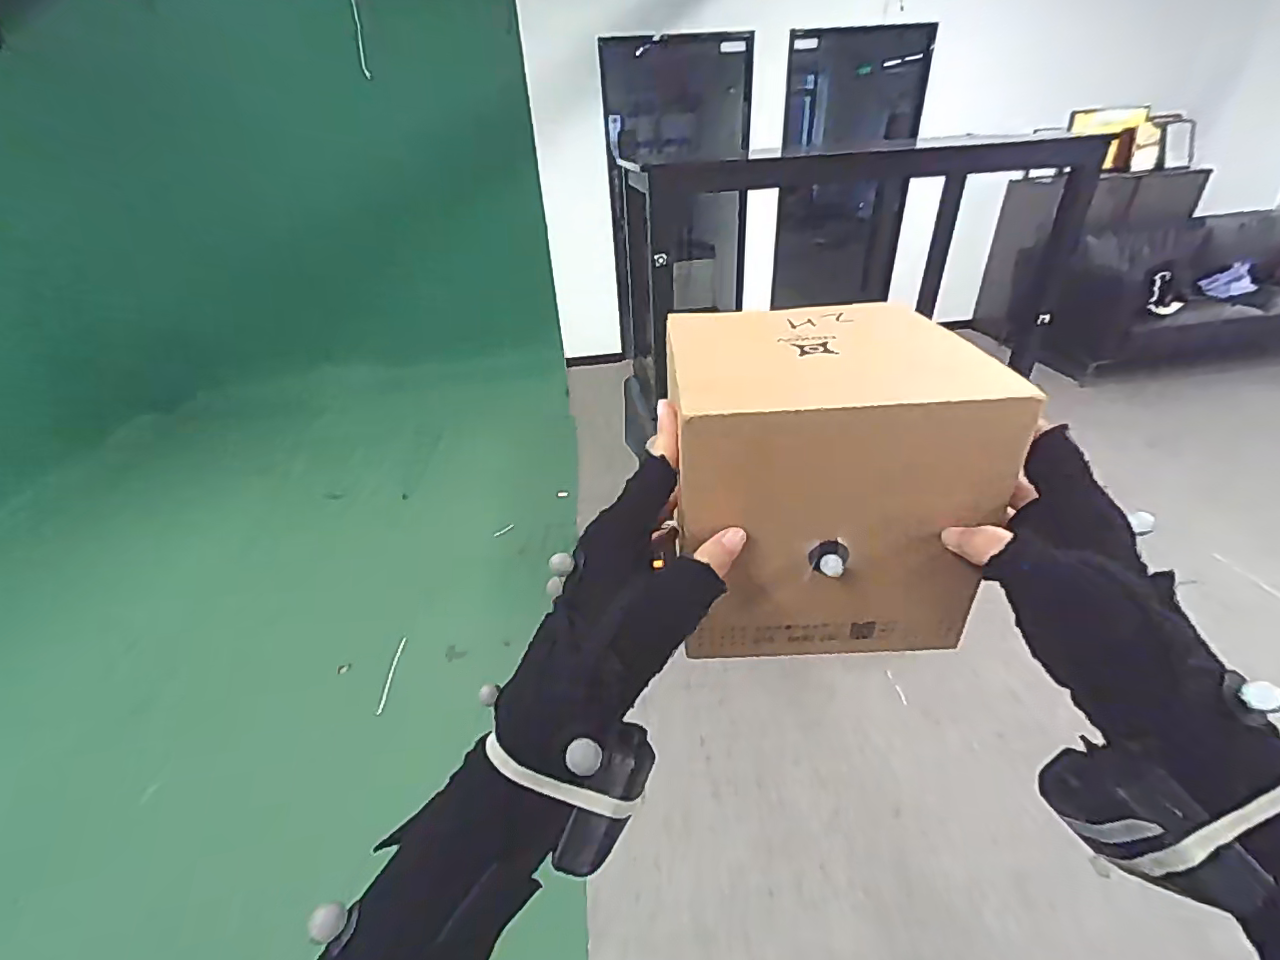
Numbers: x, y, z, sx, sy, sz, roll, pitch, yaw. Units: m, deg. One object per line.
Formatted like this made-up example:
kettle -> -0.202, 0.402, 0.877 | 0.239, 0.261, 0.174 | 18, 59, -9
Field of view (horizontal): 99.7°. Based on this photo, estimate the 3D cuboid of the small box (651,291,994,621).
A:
small box -> 0.095, -0.019, 0.369 | 0.168, 0.176, 0.179 | -2, 30, 3
